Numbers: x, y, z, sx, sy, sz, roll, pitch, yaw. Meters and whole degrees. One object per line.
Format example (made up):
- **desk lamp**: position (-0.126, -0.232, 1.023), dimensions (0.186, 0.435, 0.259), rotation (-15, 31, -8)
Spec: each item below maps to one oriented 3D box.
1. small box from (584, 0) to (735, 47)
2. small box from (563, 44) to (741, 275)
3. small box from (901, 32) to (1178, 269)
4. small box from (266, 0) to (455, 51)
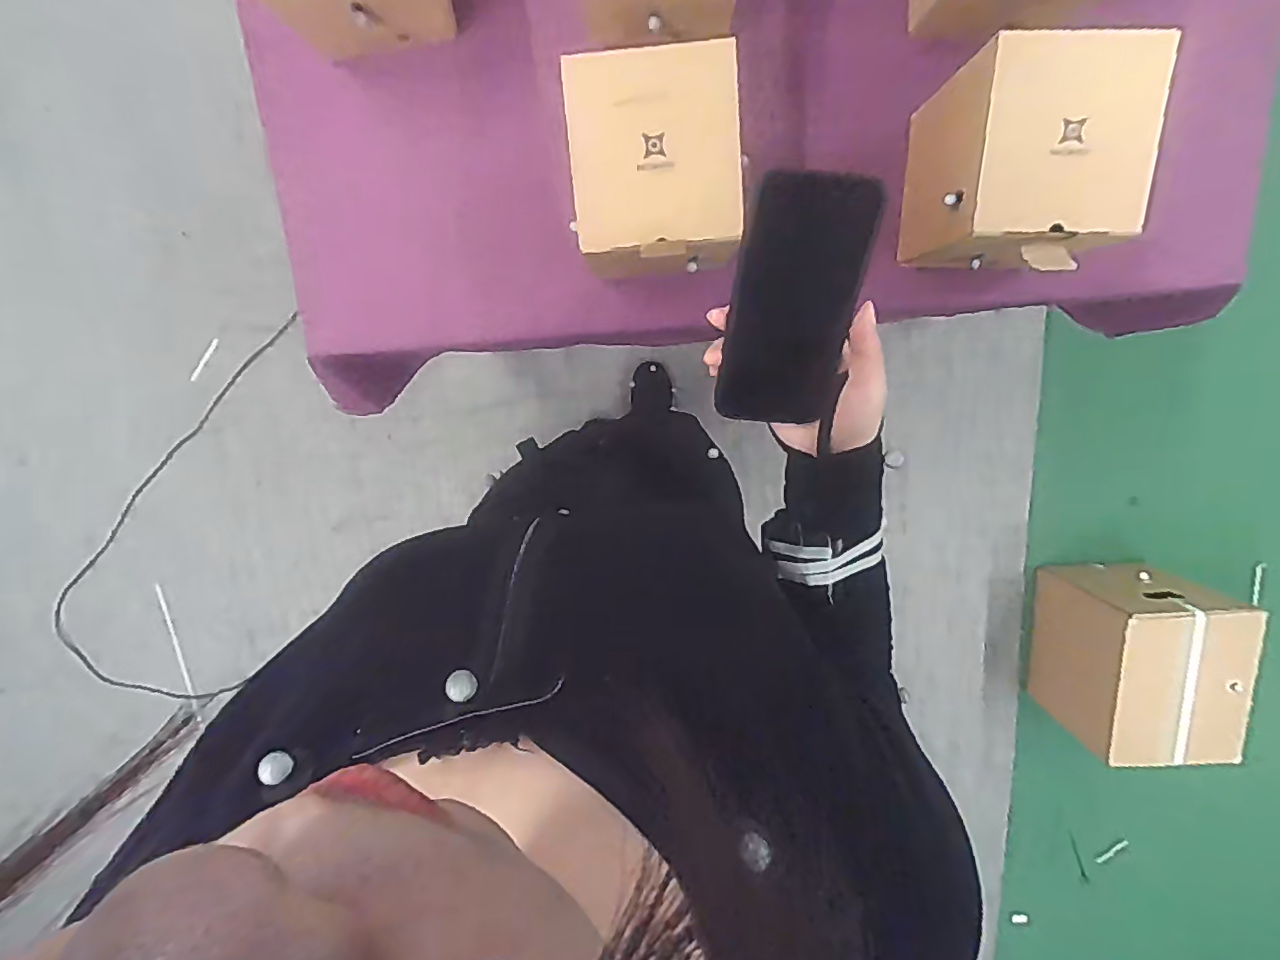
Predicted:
- **small box**: position (0.021, -0.580, 0.537), dimensions (0.168, 0.176, 0.179), rotation (3, 103, 1)
- **small box**: position (0.016, -0.329, 0.596), dimensions (0.168, 0.176, 0.179), rotation (-4, 102, 2)
- **small box**: position (0.405, -0.336, 0.585), dimensions (0.168, 0.176, 0.179), rotation (1, 103, 1)
- **small box**: position (-0.306, -0.574, 0.545), dimensions (0.168, 0.176, 0.179), rotation (-8, 103, 2)
